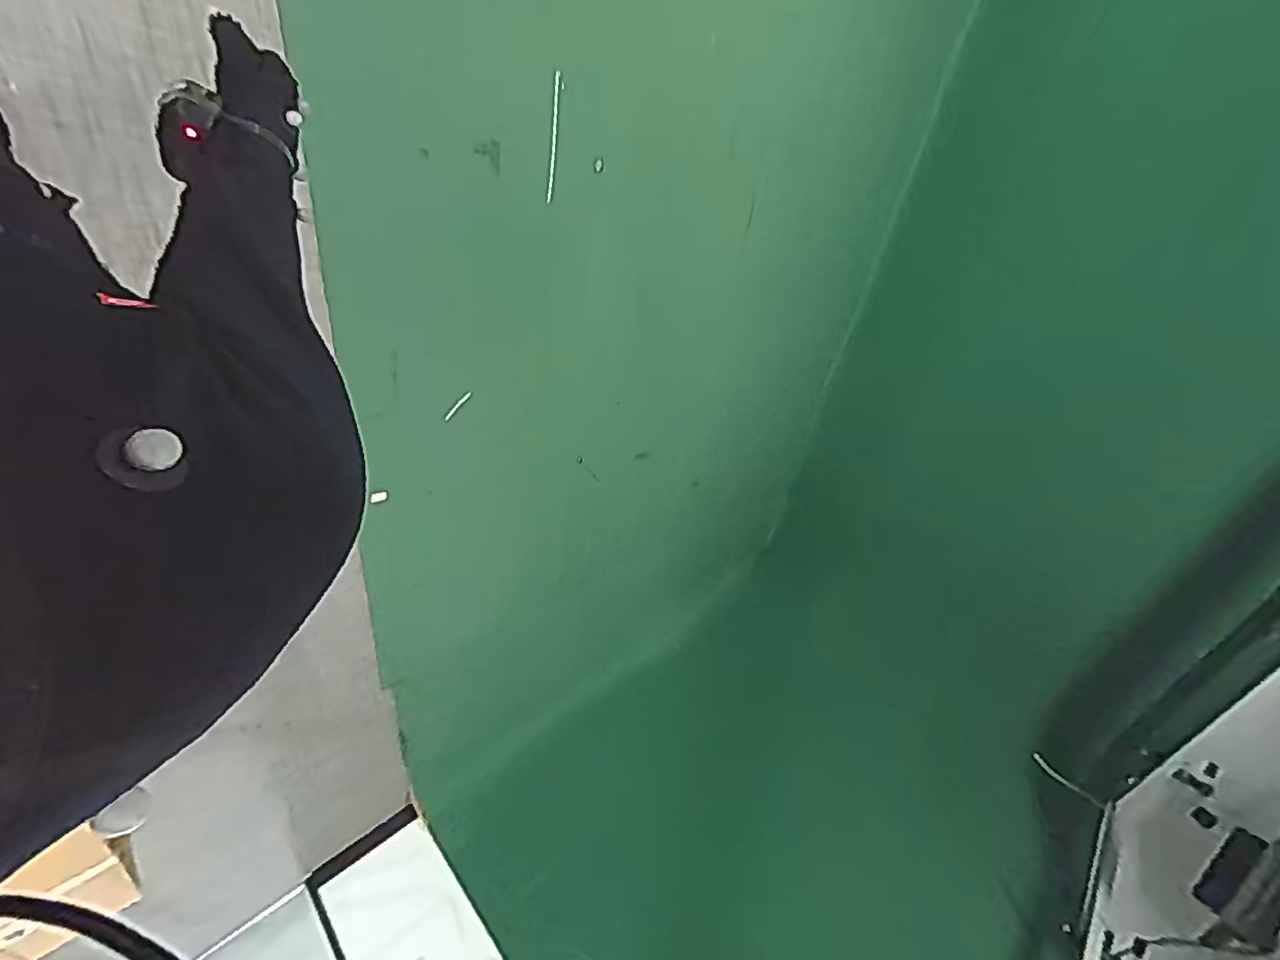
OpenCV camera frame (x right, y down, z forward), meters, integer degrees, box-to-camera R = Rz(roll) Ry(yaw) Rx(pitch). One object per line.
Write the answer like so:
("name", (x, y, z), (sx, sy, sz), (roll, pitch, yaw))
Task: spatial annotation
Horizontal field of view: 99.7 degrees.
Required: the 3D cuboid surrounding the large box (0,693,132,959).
("large box", (-1.170, 0.646, 0.887), (0.408, 0.320, 0.320), (-21, 131, -43))
